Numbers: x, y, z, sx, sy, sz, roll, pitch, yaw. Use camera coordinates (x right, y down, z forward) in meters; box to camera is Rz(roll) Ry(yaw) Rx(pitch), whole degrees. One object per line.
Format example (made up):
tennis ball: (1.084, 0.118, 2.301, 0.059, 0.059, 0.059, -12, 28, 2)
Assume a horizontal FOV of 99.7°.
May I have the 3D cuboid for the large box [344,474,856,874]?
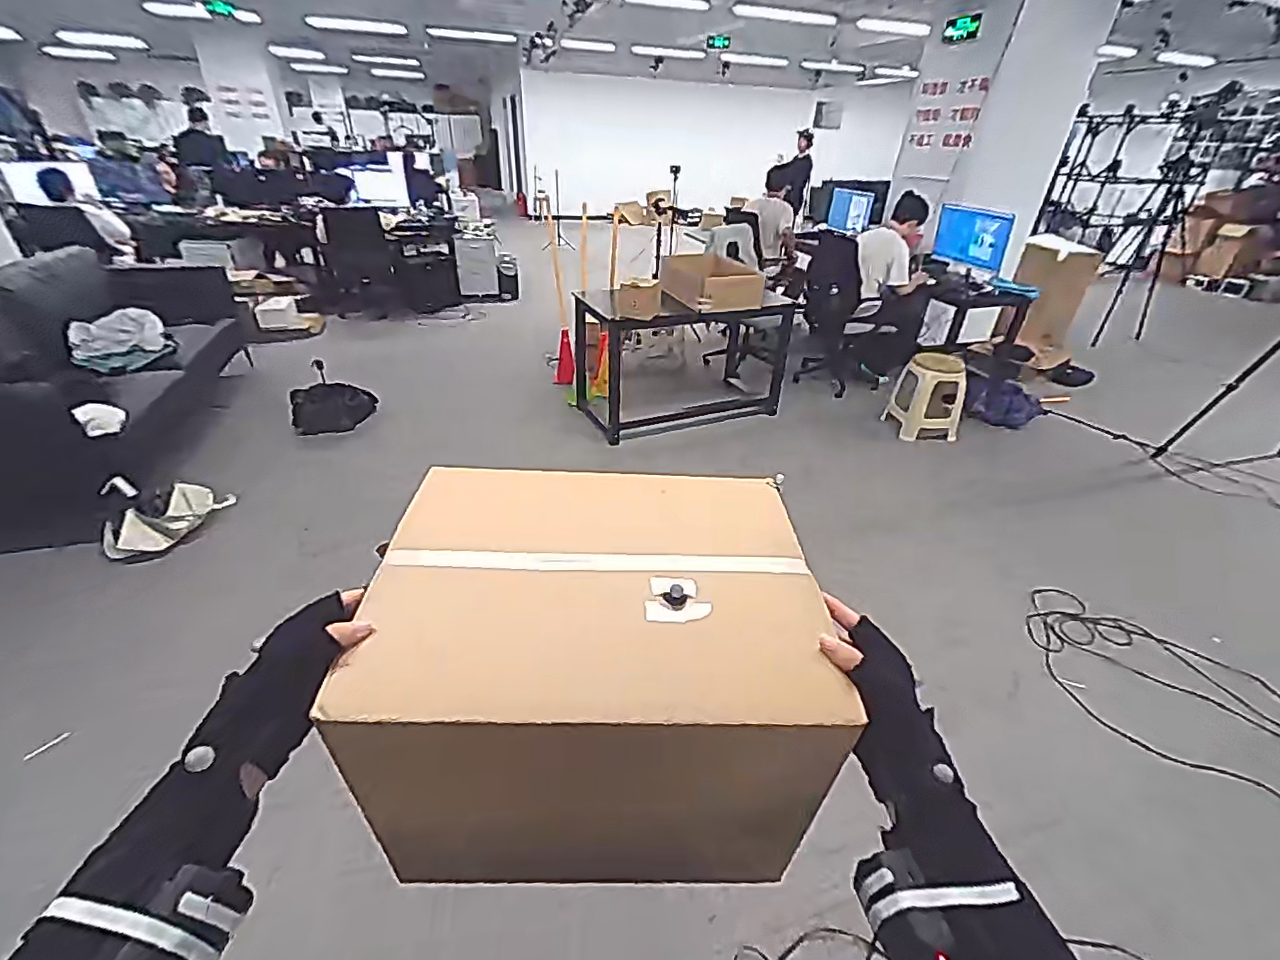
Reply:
large box: (-0.042, 0.209, 0.617, 0.408, 0.320, 0.320, 3, 36, -4)
